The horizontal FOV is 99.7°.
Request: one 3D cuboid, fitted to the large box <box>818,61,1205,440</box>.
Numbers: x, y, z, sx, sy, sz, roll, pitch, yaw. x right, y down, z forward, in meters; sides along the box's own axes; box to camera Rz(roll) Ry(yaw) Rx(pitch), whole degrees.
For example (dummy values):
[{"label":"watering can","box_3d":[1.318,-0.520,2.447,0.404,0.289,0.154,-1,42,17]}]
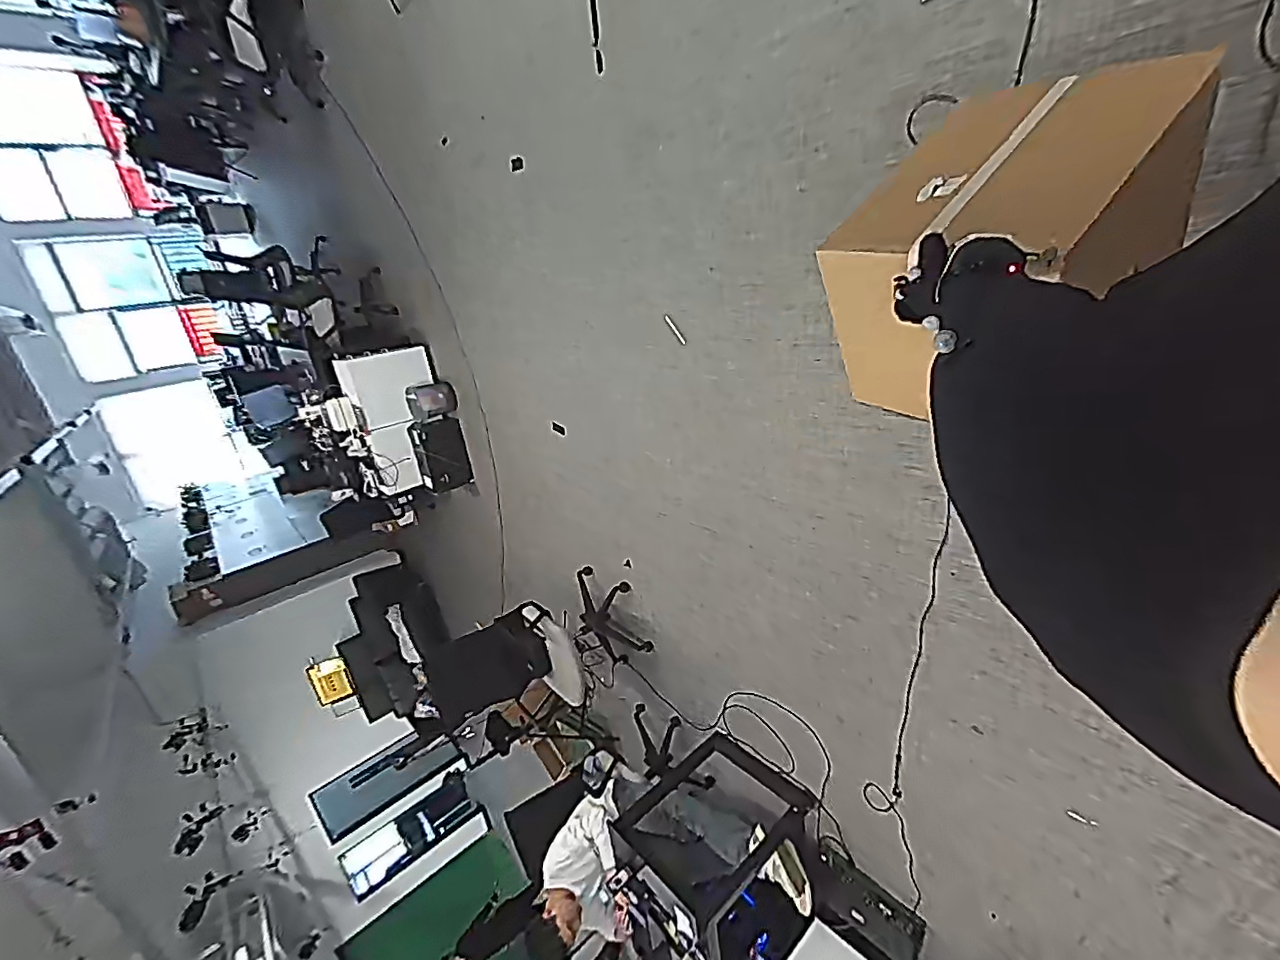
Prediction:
[{"label":"large box","box_3d":[0.548,-0.337,0.831,0.320,0.408,0.320,30,163,48]}]
